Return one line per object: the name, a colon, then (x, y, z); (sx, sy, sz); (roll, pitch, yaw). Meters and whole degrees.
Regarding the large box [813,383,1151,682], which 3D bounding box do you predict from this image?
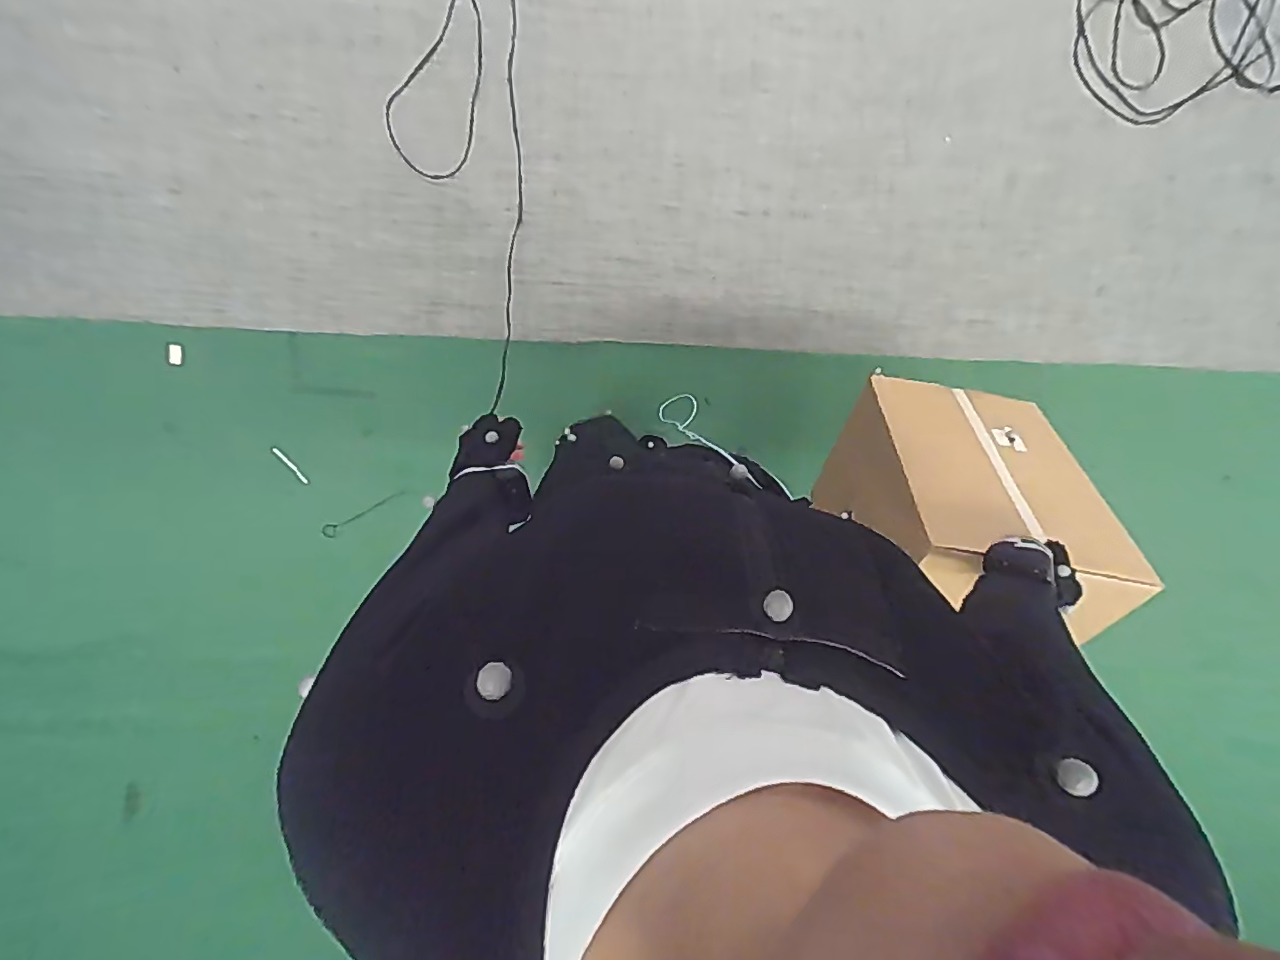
large box: (0.526, 0.086, 0.953); (0.320, 0.408, 0.320); (10, 133, -1)
